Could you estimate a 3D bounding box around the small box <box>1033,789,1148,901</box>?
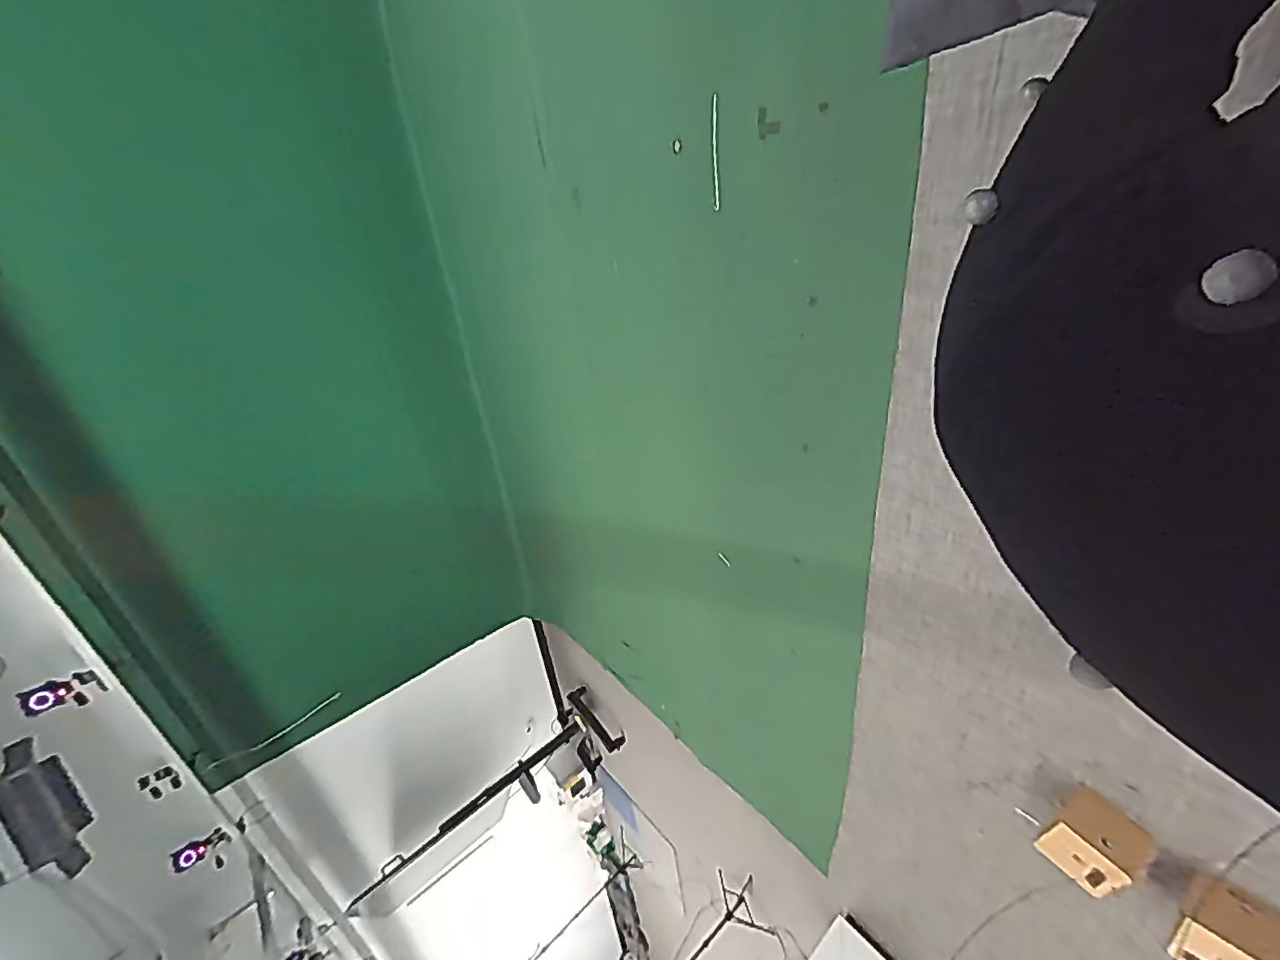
[{"bbox_3d":[1.277,1.026,1.530,0.179,0.176,0.168,39,140,36],"label":"small box"}]
